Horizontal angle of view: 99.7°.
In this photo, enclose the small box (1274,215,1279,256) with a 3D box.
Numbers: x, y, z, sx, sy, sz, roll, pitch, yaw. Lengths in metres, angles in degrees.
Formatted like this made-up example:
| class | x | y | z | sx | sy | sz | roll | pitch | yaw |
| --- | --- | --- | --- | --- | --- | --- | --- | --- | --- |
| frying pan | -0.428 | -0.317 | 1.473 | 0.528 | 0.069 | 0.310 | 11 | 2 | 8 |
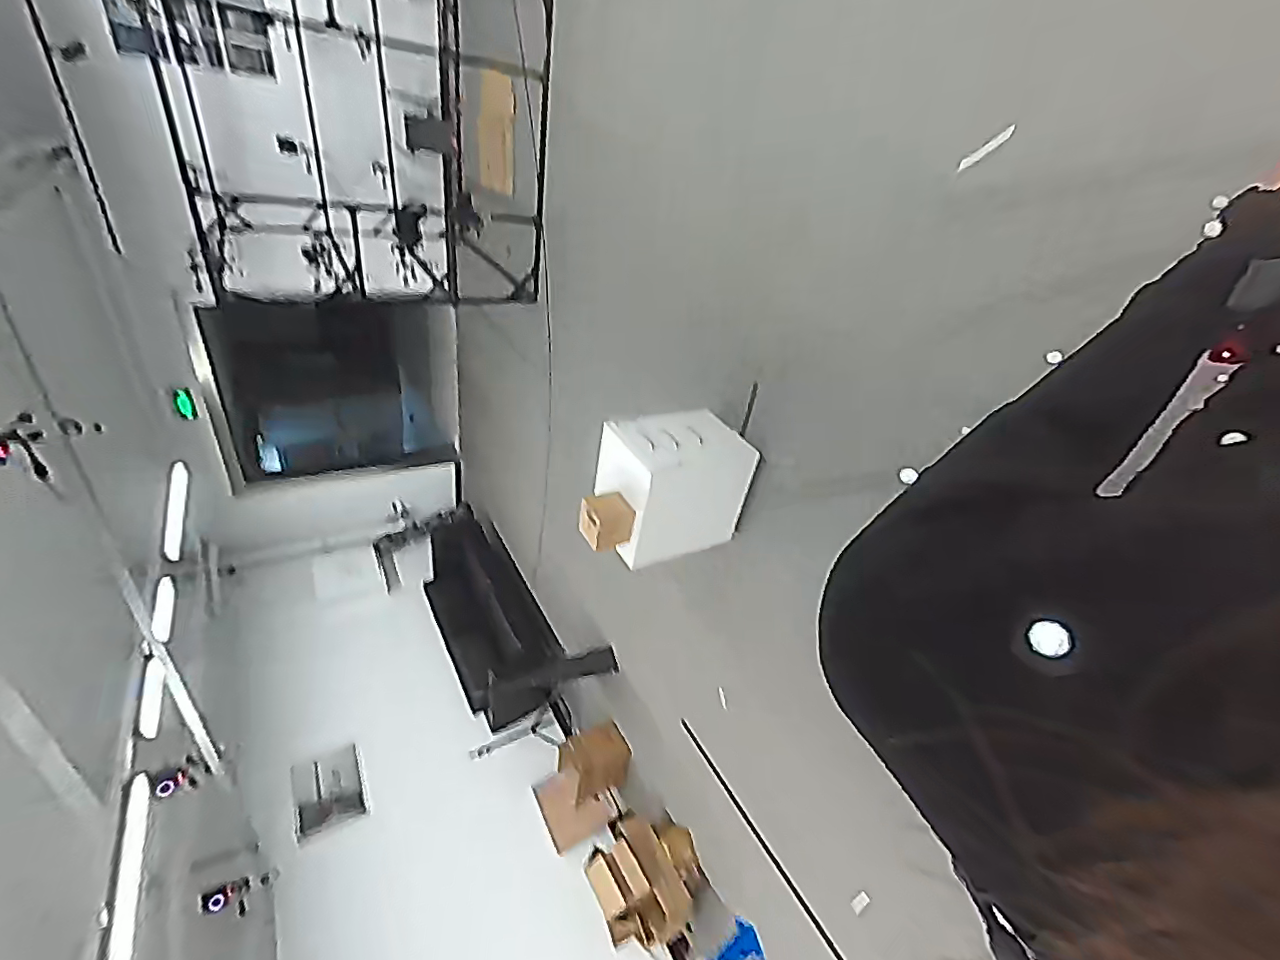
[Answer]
| class | x | y | z | sx | sy | sz | roll | pitch | yaw |
| --- | --- | --- | --- | --- | --- | --- | --- | --- | --- |
| small box | 0.691 | -0.292 | 0.462 | 0.168 | 0.176 | 0.179 | 13 | 109 | 43 |
